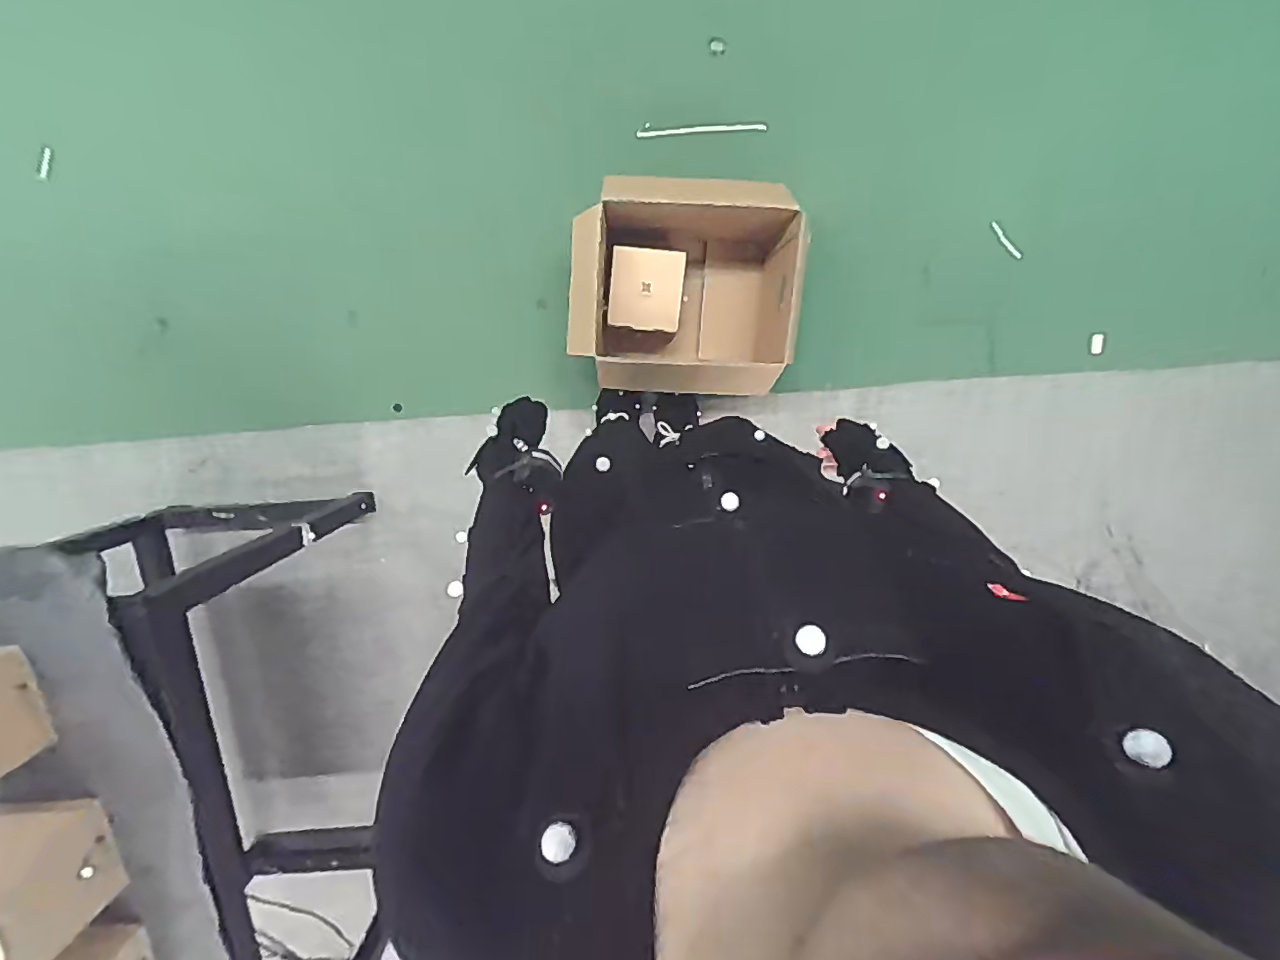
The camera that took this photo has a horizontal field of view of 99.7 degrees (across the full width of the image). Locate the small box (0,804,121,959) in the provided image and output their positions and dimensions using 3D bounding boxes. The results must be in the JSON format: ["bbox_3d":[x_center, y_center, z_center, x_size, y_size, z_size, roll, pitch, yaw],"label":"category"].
[{"bbox_3d":[-0.928,0.604,0.782,0.179,0.176,0.168,-5,102,1],"label":"small box"}]

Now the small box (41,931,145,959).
[{"bbox_3d":[-0.909,0.841,0.833,0.179,0.176,0.168,-3,101,2],"label":"small box"}]
